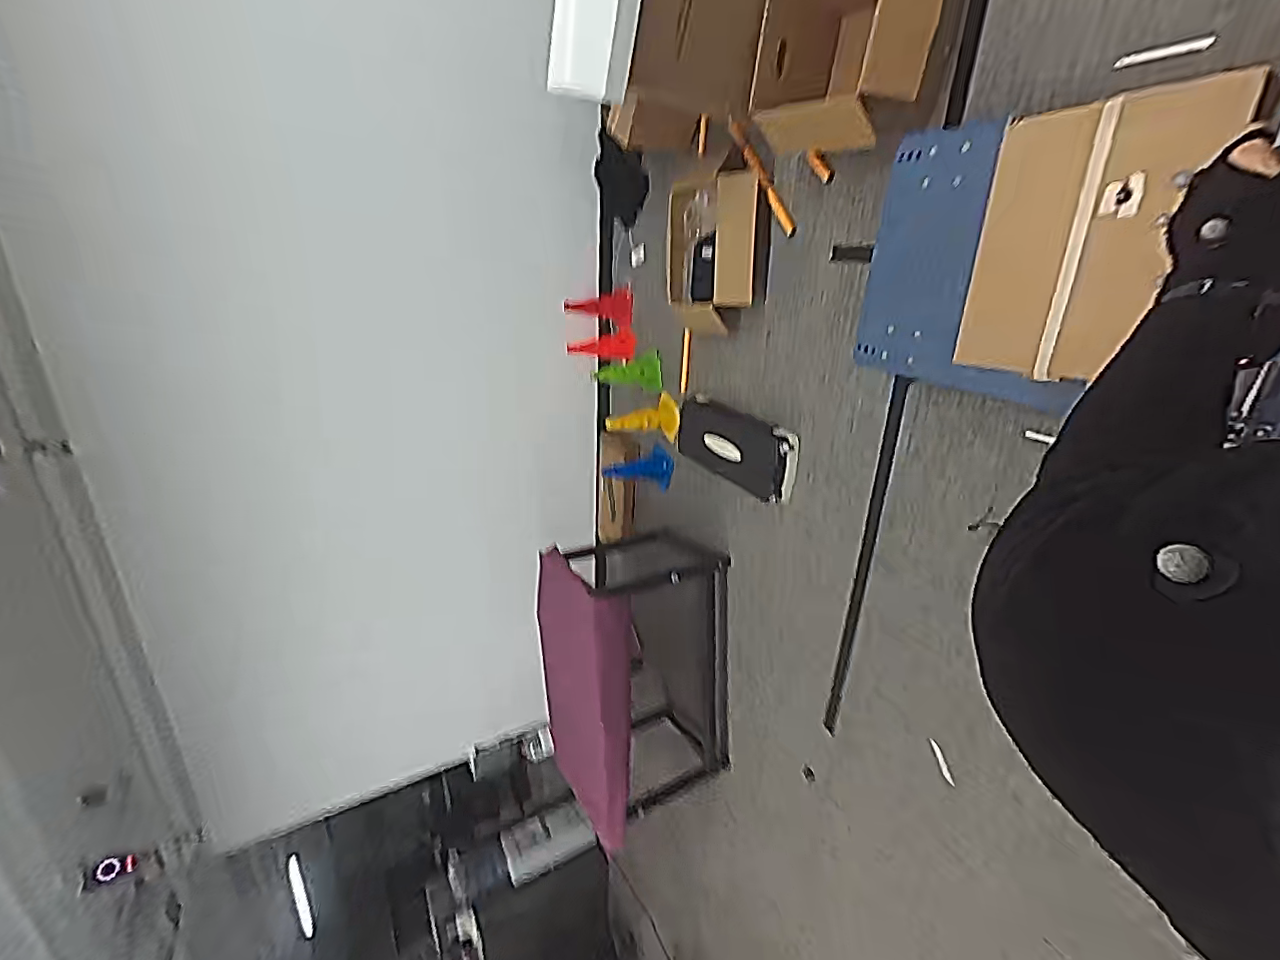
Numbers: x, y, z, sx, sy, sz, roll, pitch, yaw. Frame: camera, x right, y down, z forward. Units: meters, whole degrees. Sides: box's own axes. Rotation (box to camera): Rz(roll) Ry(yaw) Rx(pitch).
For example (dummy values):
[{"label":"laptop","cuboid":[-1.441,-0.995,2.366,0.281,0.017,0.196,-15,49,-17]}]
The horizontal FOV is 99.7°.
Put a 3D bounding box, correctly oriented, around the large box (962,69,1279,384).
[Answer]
[{"label":"large box","cuboid":[0.828,-0.386,0.927,0.320,0.320,0.408,29,122,54]}]
